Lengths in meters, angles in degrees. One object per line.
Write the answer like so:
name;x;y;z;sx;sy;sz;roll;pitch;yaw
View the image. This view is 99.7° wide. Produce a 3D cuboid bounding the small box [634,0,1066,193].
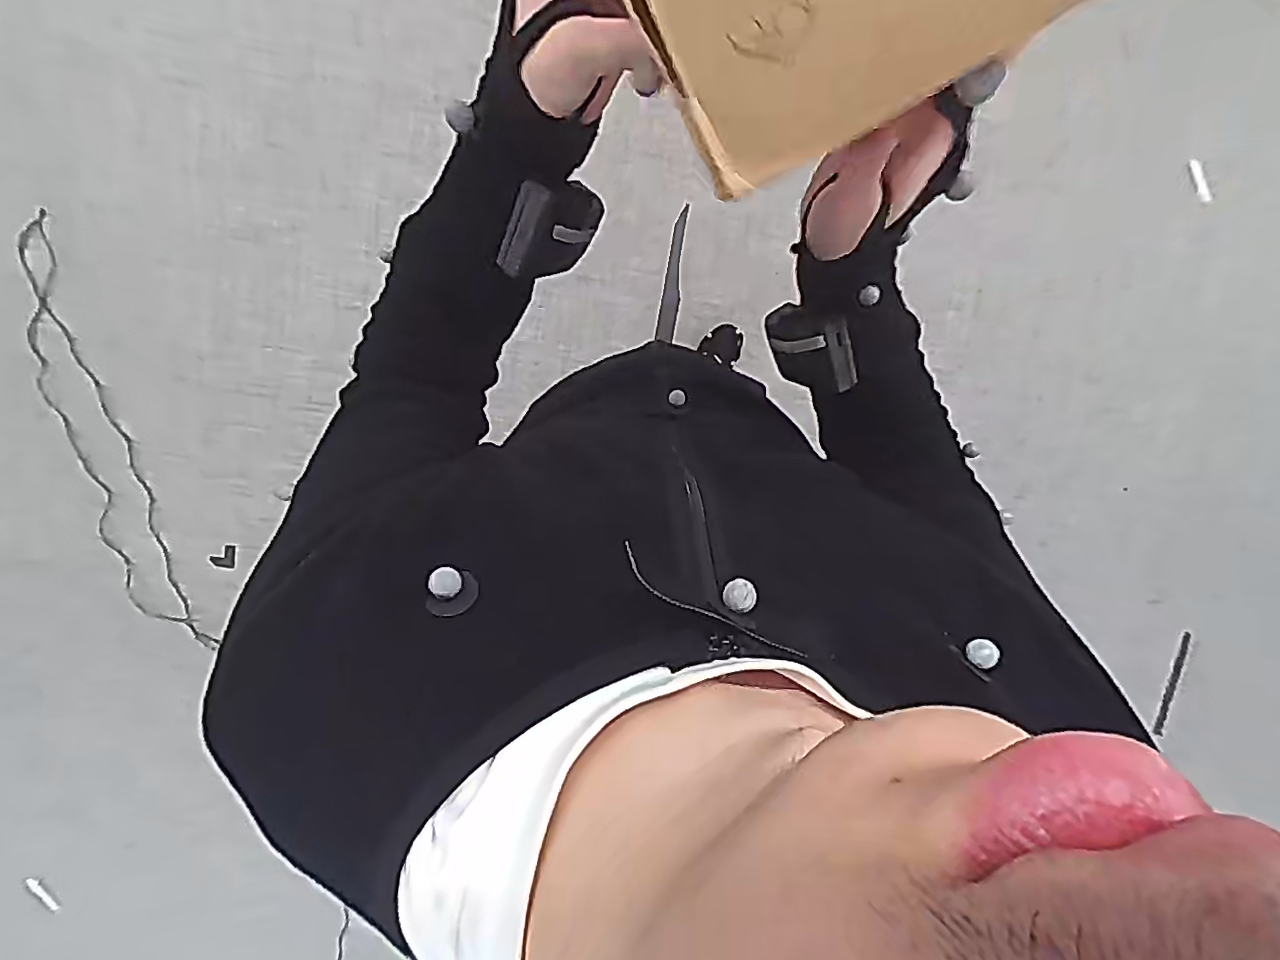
small box;0.071;-0.226;0.172;0.179;0.176;0.168;-24;119;22
